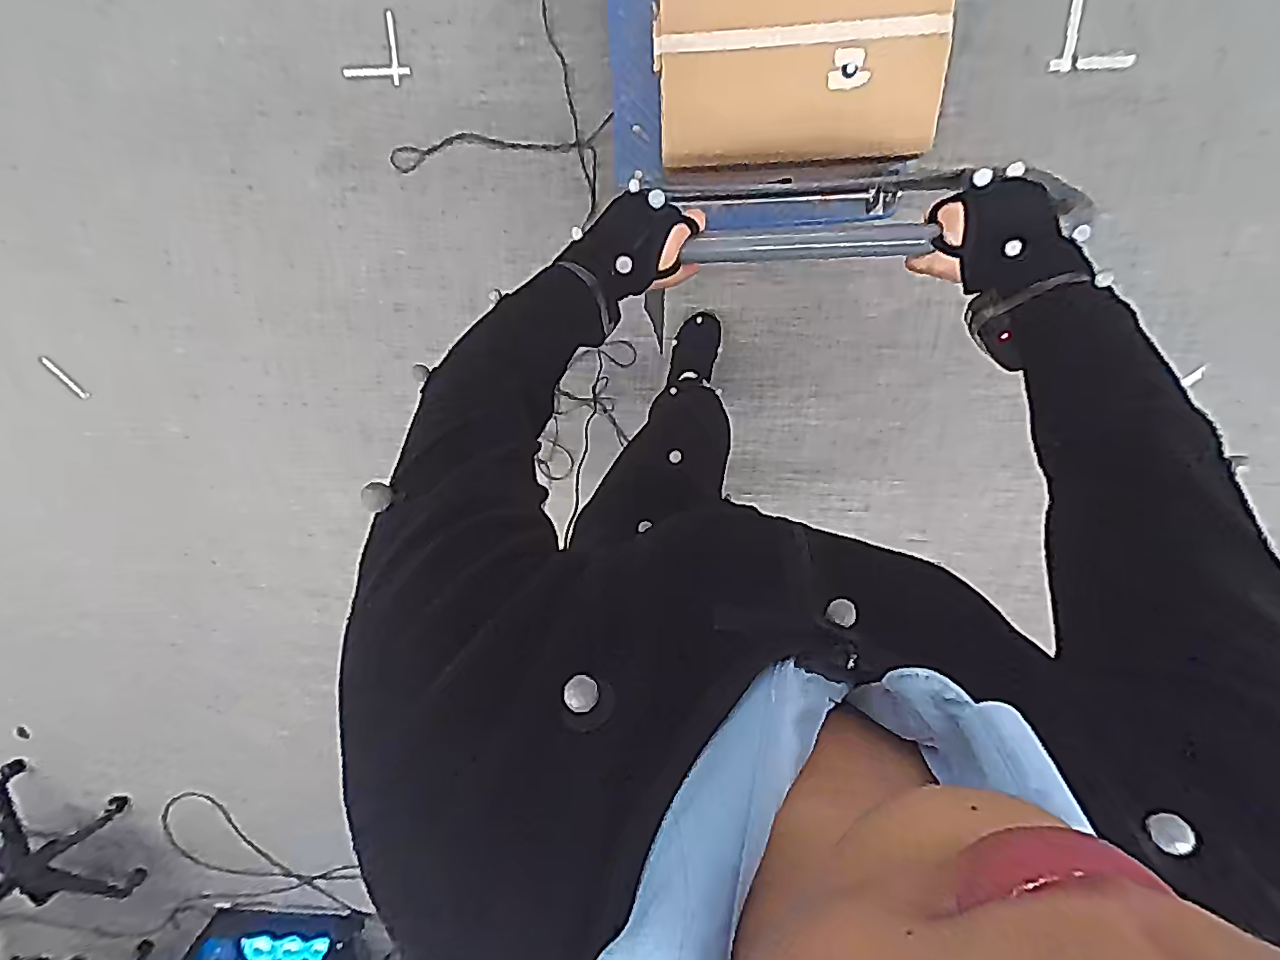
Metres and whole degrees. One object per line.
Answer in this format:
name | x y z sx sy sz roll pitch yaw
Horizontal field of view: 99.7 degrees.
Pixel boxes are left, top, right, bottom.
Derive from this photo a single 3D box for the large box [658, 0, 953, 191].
large box | 0.236 -0.677 0.899 0.408 0.320 0.320 -1 115 3
